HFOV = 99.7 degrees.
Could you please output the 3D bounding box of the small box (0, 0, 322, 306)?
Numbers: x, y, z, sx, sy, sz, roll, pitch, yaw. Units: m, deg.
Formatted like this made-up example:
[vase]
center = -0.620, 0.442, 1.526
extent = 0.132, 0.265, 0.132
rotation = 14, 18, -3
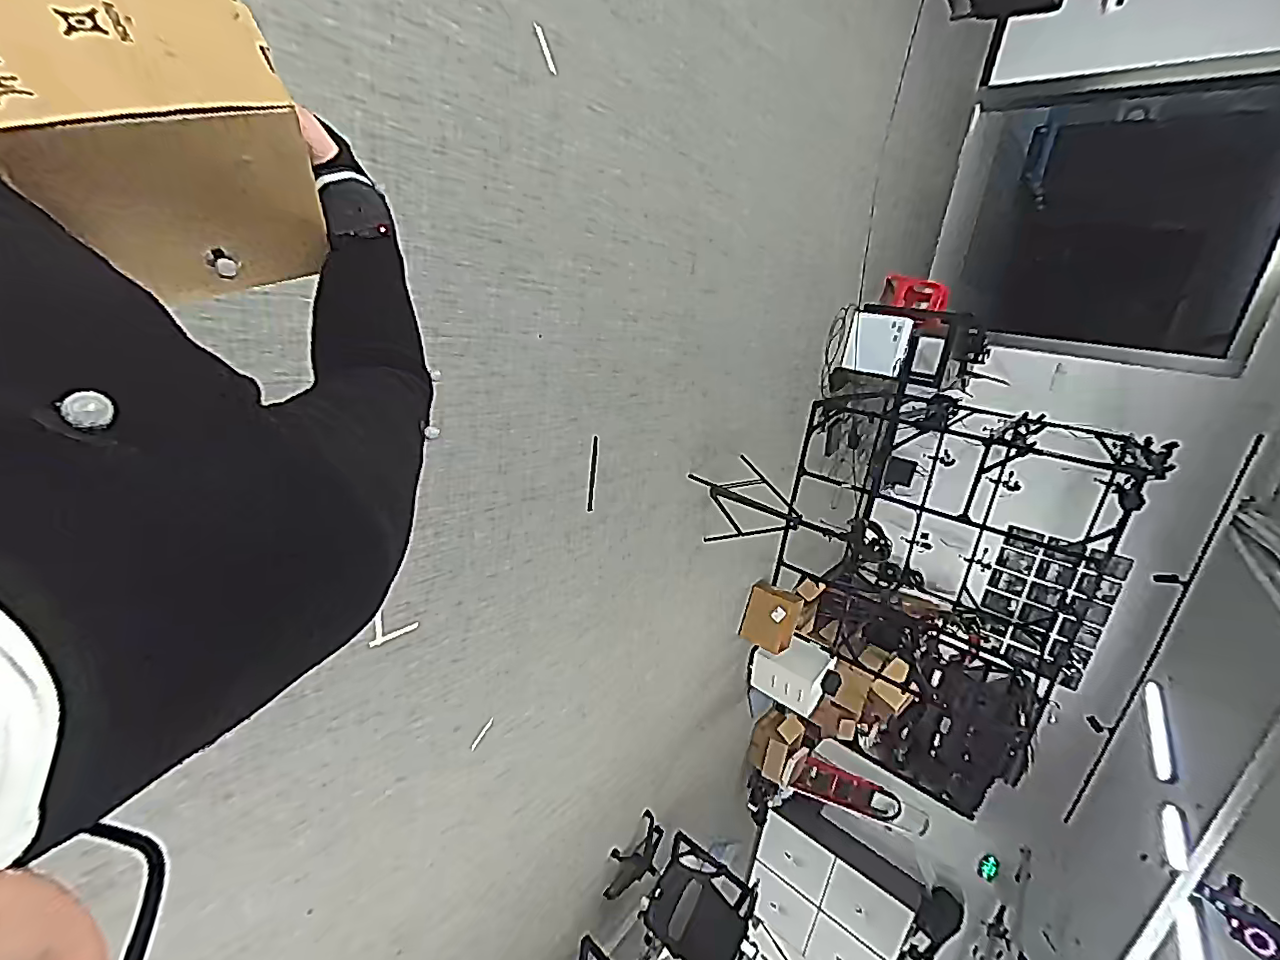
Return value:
[small box]
center = -0.387, -0.274, 0.444
extent = 0.179, 0.168, 0.176
rotation = -27, 170, -28
